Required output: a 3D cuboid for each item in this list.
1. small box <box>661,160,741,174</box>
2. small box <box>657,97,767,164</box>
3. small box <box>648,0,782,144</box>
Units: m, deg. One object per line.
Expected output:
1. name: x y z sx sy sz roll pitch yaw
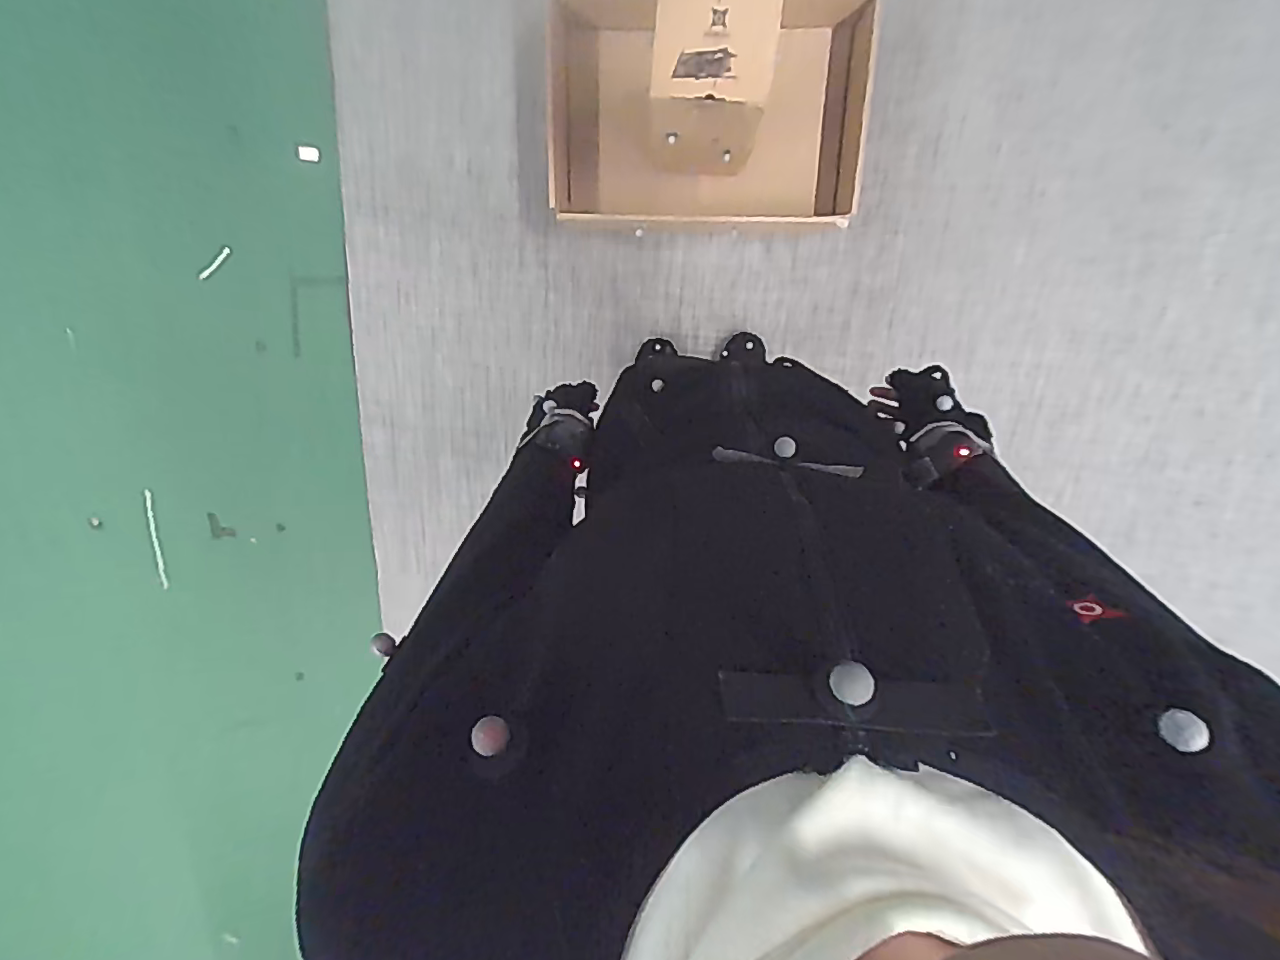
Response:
1. small box: 0.130 -0.739 1.103 0.179 0.176 0.168 1 105 3
2. small box: 0.120 -0.663 0.938 0.179 0.176 0.168 2 106 3
3. small box: 0.106 -0.621 0.796 0.168 0.176 0.179 6 104 2
